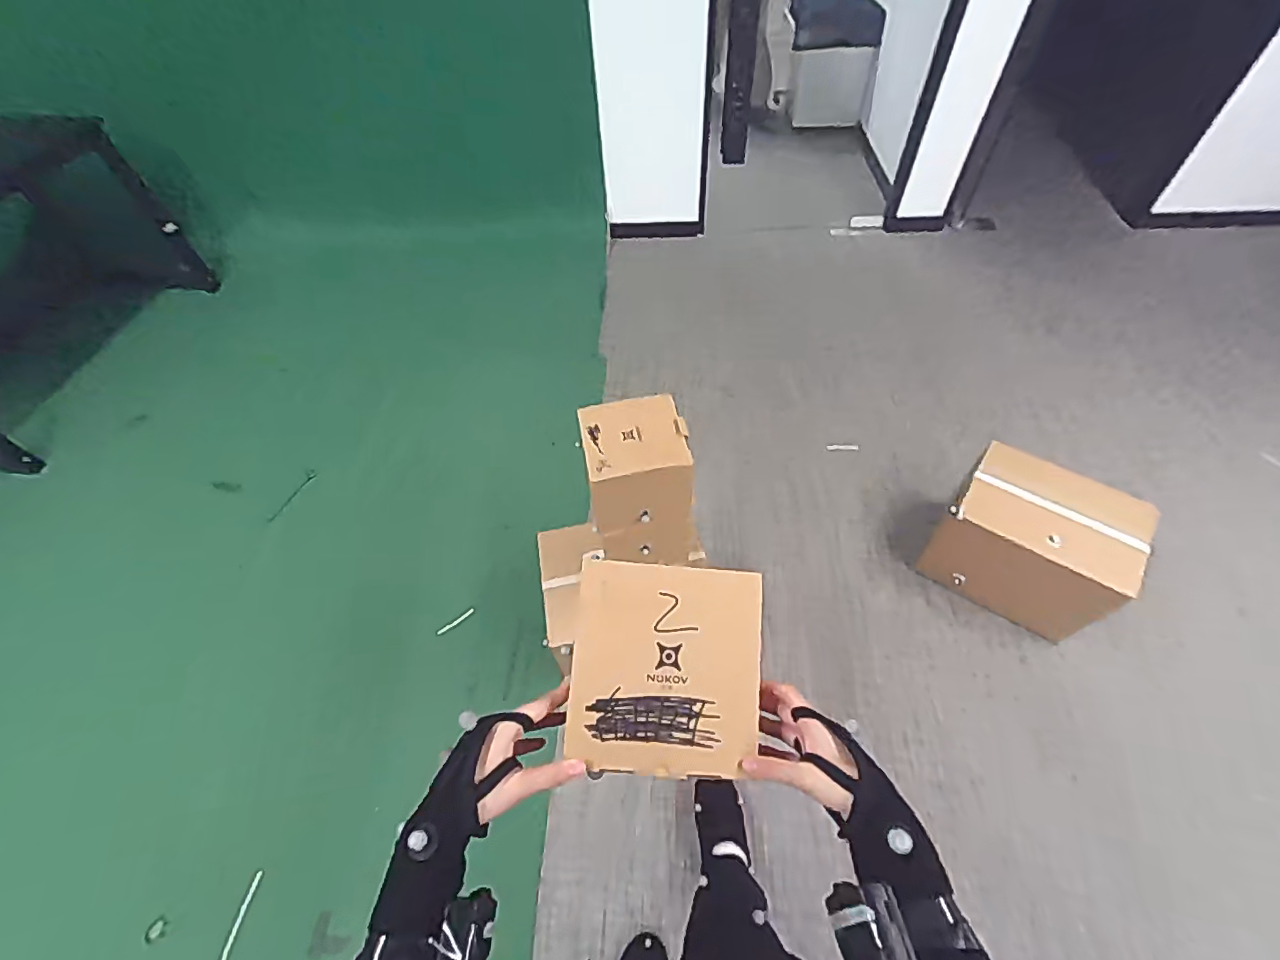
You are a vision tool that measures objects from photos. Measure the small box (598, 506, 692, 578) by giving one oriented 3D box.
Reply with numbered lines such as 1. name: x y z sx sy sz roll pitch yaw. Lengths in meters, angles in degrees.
1. small box: -0.001 0.080 1.109 0.179 0.176 0.168 -11 53 -5

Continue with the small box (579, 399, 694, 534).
1. small box: -0.010 -0.021 0.979 0.179 0.176 0.168 -9 53 -6

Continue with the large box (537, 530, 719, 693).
1. large box: -0.031 0.329 1.434 0.408 0.320 0.320 -11 52 -4

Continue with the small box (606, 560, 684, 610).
1. small box: 0.003 0.183 1.236 0.168 0.176 0.179 -10 53 -5
